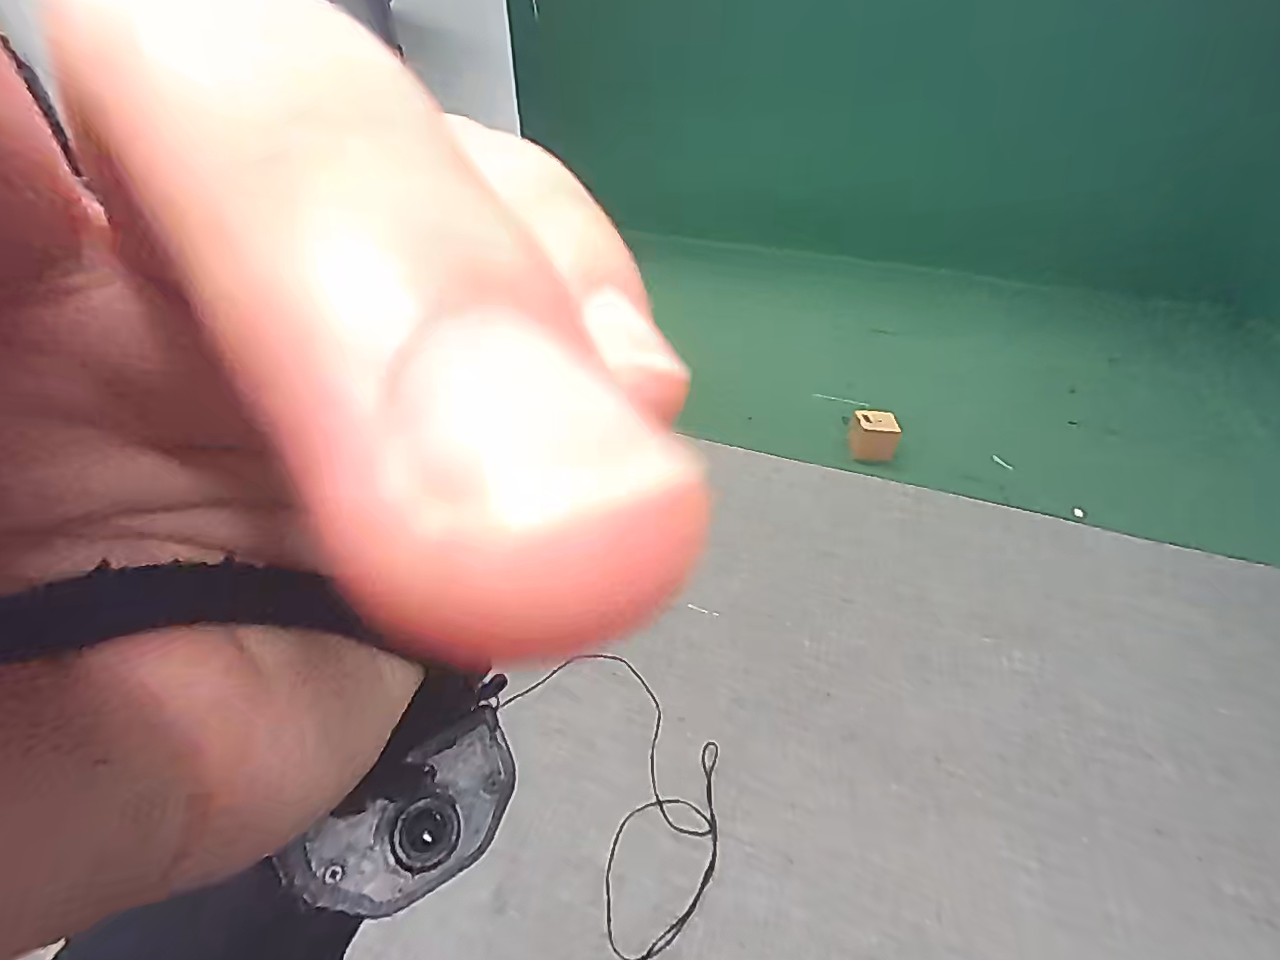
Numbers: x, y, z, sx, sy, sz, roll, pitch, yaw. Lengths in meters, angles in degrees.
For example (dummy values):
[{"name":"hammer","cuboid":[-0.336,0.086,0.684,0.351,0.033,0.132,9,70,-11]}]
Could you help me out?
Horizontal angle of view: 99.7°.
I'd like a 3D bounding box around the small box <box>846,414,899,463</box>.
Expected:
[{"name":"small box","cuboid":[1.089,-0.196,2.551,0.179,0.176,0.168,5,39,2]}]
